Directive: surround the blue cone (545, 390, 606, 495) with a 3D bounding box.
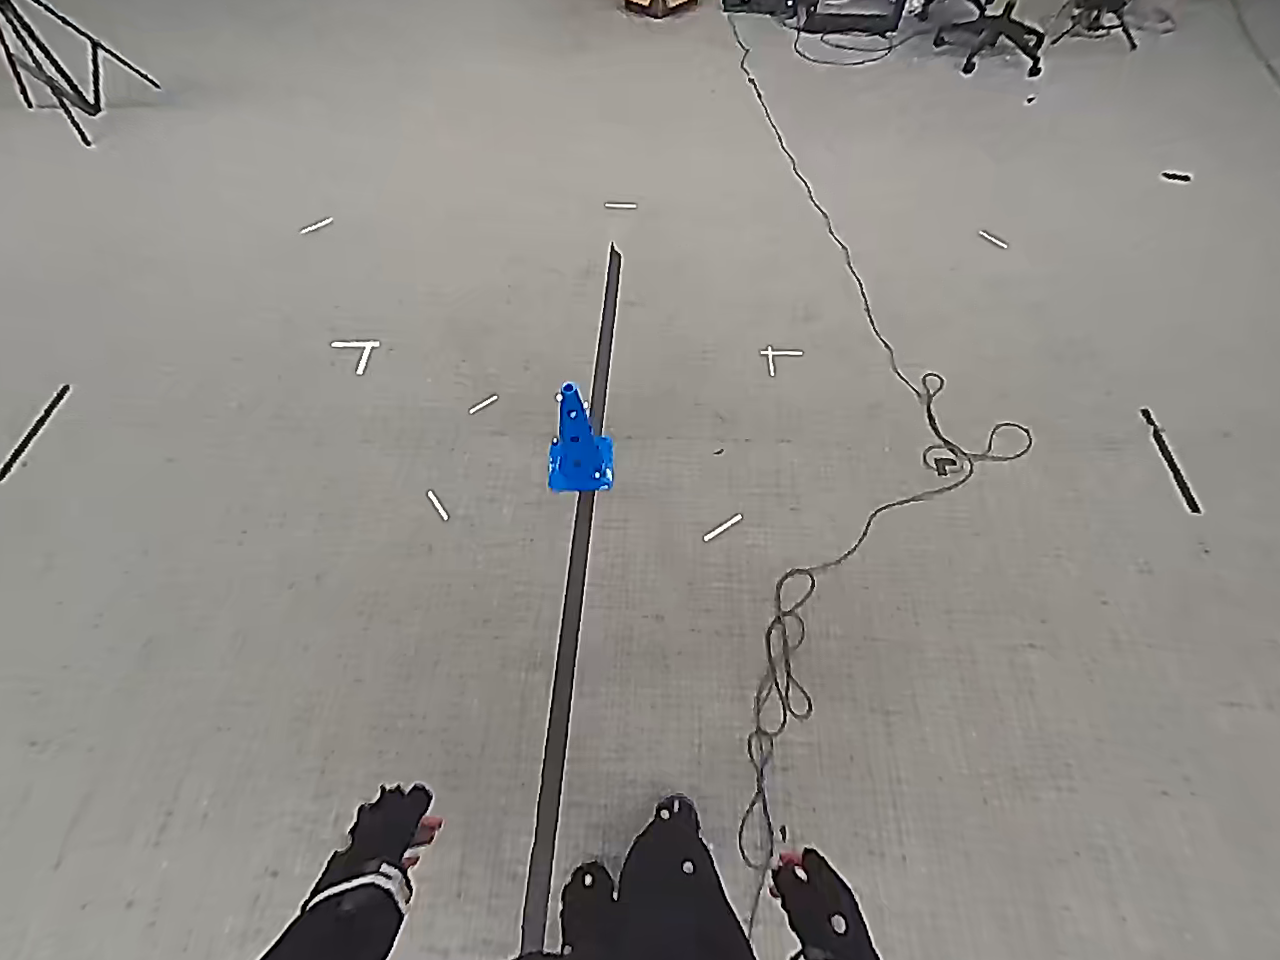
[{"bbox_3d":[-0.203,-0.126,1.573,0.192,0.380,0.193,-1,57,0],"label":"blue cone"}]
